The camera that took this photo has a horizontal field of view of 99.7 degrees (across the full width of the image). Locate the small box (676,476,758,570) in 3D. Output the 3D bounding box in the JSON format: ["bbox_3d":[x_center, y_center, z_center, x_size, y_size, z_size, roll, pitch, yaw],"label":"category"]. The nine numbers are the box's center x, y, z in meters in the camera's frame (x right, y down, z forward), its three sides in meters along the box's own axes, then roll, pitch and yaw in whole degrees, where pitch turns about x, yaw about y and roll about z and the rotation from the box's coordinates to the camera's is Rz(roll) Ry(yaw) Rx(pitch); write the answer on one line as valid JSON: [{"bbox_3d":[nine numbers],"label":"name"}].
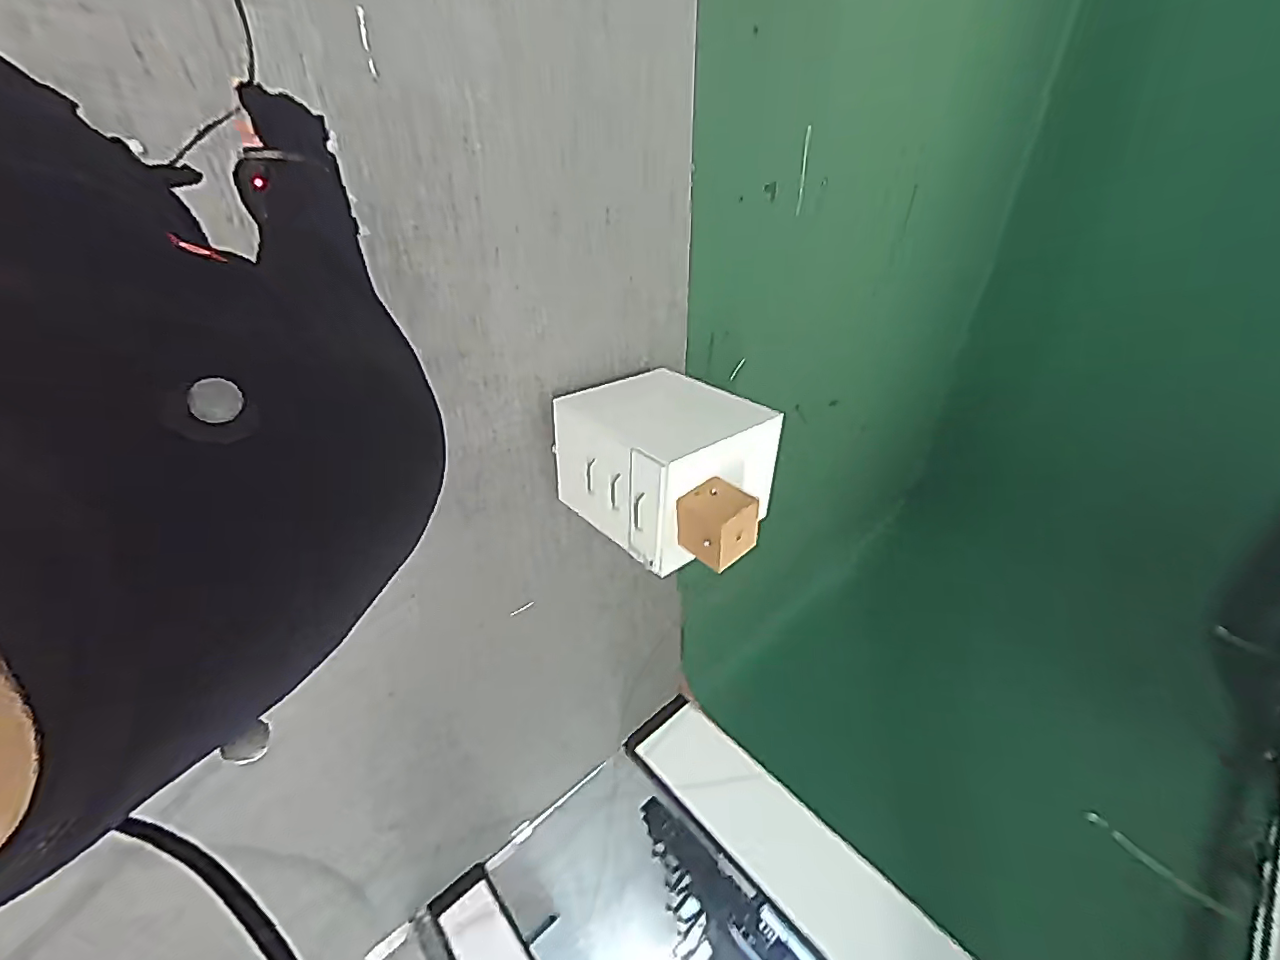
[{"bbox_3d":[0.216,0.118,1.550,0.168,0.176,0.179,-30,133,-31],"label":"small box"}]
